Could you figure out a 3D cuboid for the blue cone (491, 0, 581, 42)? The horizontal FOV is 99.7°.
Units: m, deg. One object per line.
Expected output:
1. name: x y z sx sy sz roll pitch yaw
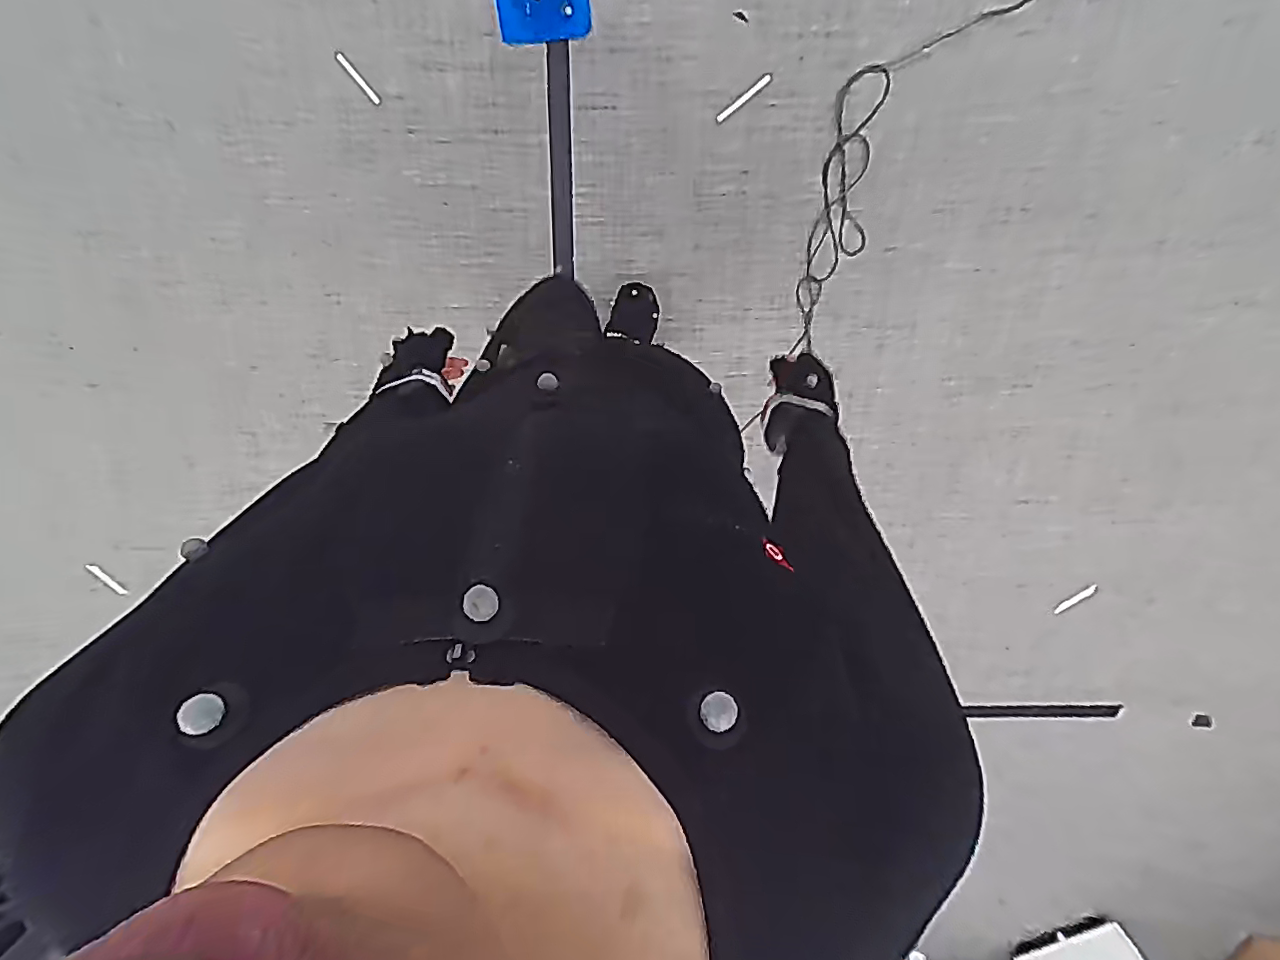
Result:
1. blue cone: -0.227 -0.995 0.986 0.192 0.380 0.193 -3 108 2
